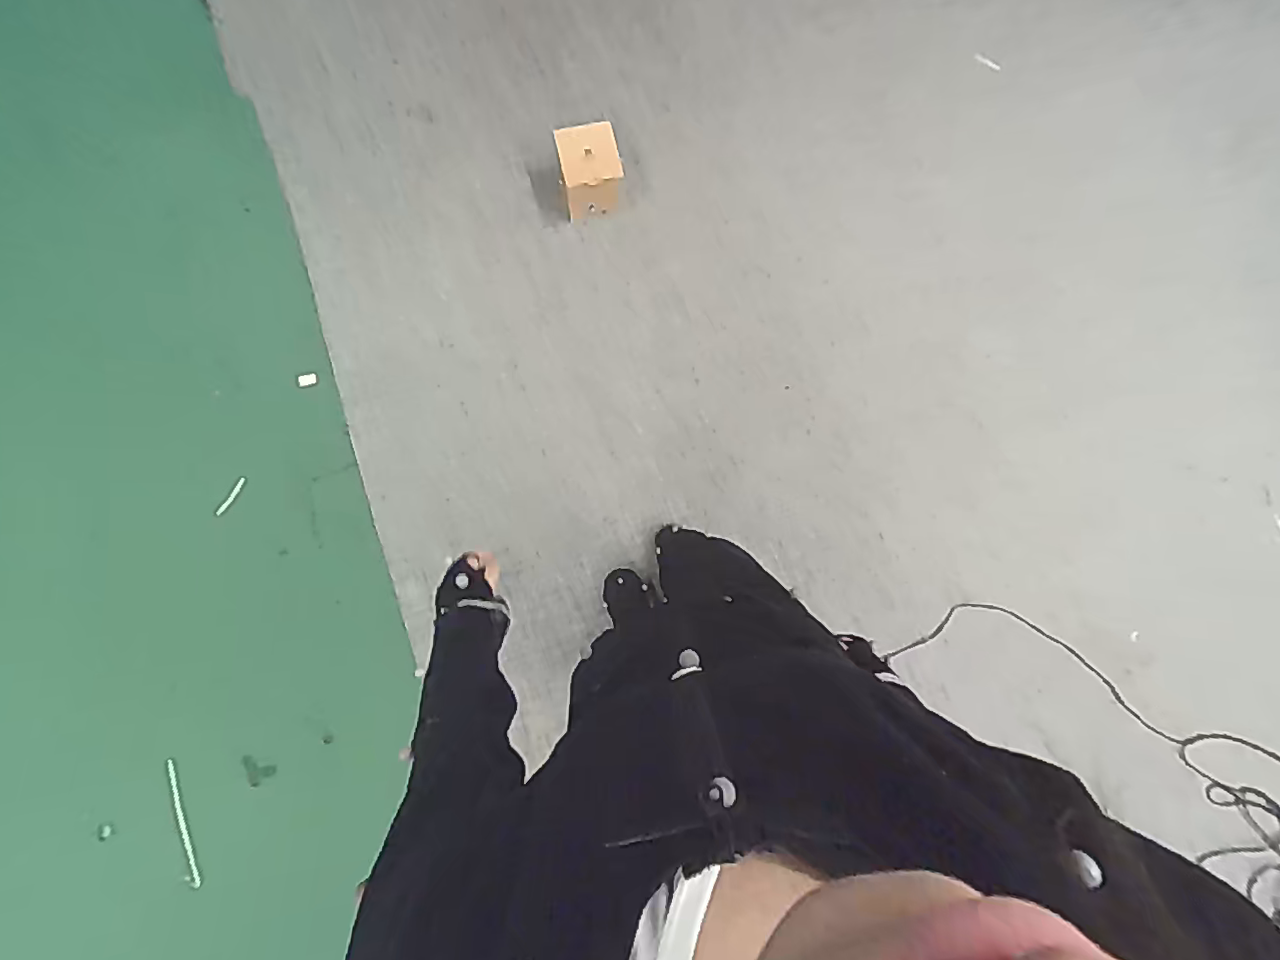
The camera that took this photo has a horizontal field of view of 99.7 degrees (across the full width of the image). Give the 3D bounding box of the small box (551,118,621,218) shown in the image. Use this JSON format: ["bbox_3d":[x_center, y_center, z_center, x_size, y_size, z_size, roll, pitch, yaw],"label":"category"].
[{"bbox_3d":[-0.156,-0.901,1.570,0.168,0.176,0.179,-13,84,-6],"label":"small box"}]
